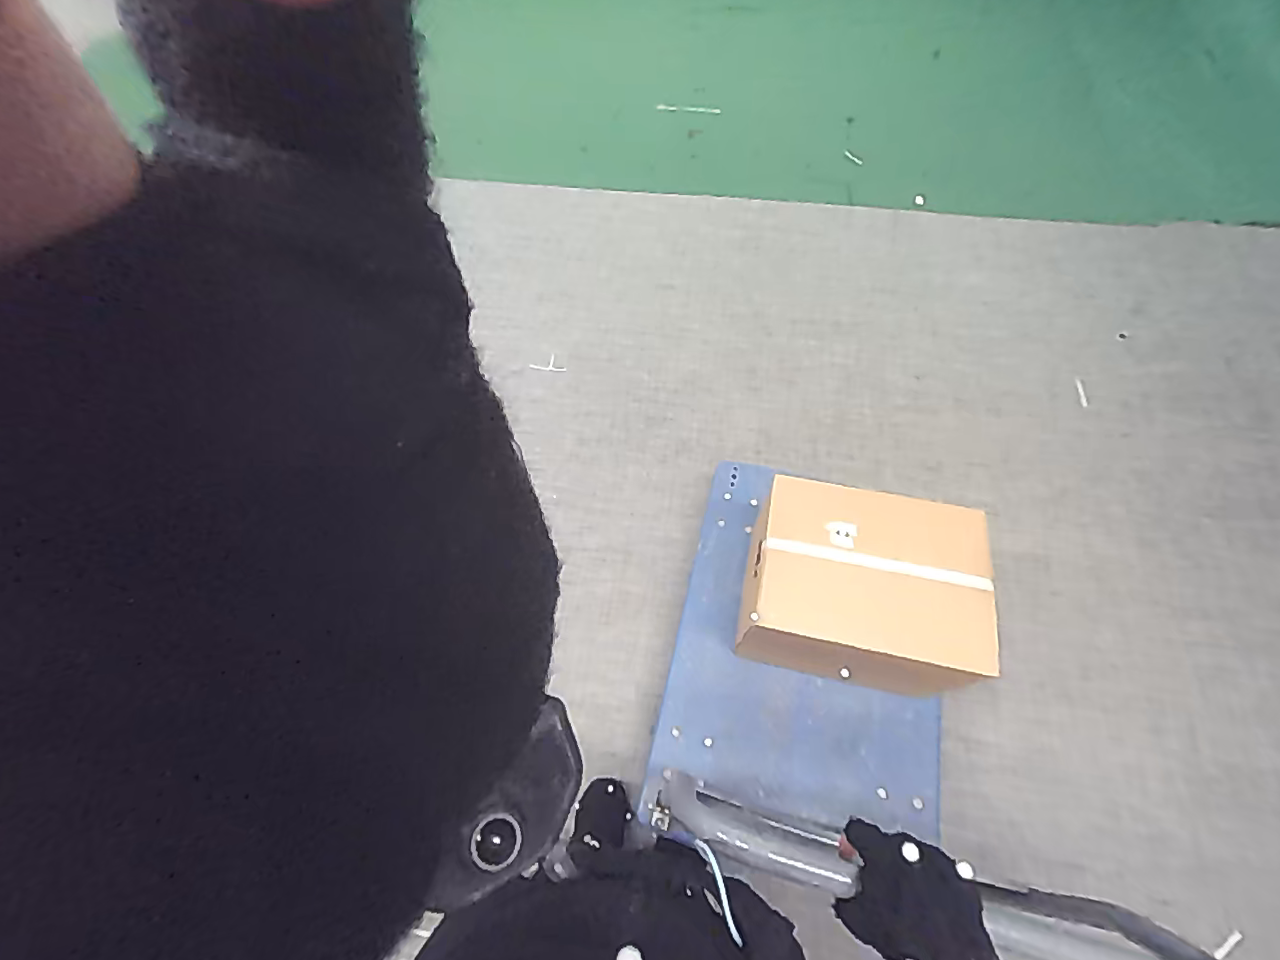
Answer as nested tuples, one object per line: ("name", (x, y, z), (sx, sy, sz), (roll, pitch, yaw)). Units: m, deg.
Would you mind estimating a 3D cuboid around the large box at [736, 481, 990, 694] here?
("large box", (0.436, 0.235, 1.133), (0.408, 0.320, 0.320), (10, 61, 8))
